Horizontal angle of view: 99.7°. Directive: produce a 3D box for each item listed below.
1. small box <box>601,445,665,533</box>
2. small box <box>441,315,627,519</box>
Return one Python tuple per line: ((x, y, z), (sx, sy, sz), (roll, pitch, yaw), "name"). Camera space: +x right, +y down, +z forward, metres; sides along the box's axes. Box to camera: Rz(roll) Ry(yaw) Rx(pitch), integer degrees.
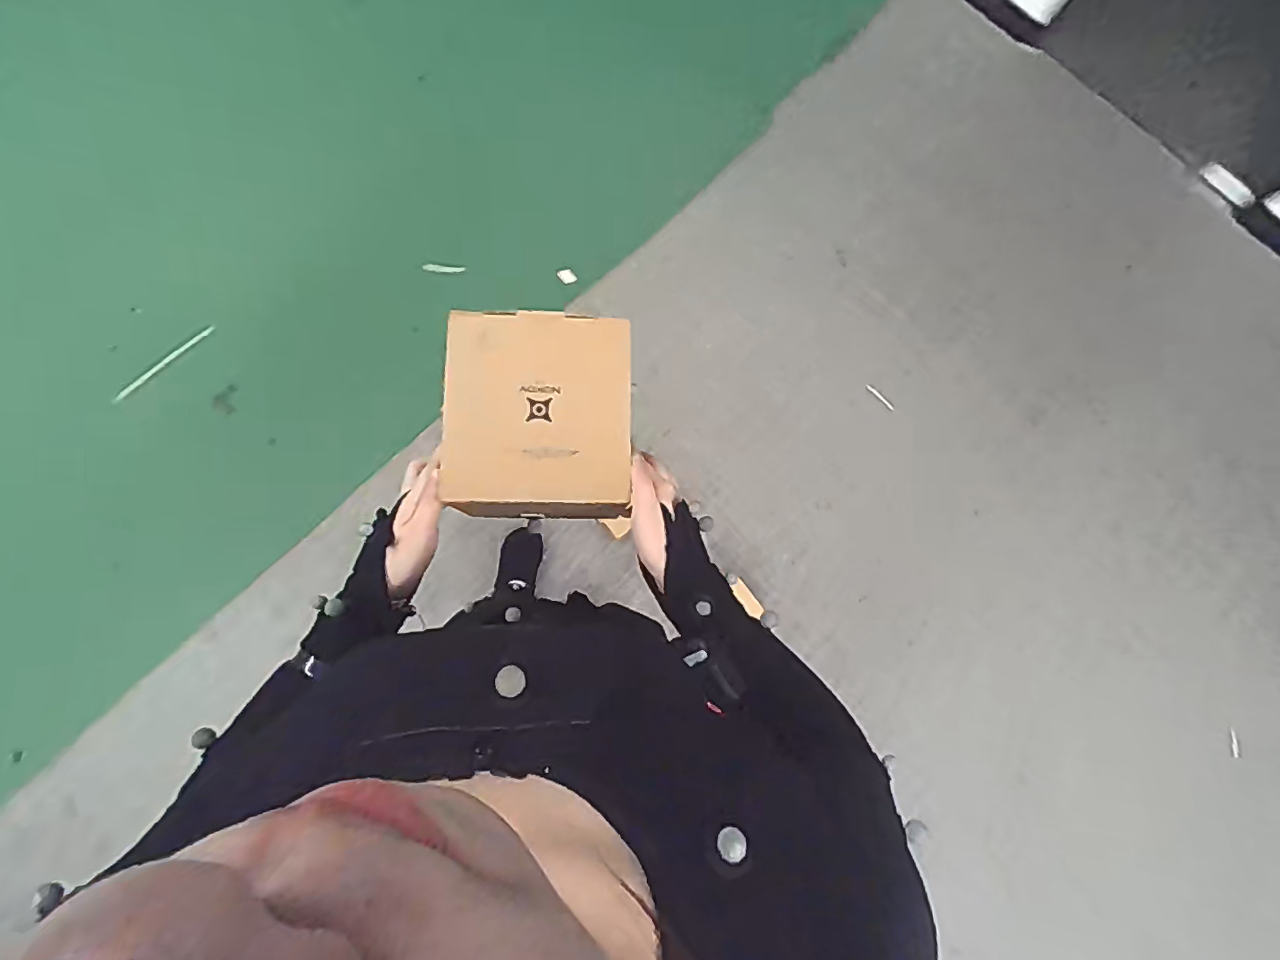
((-0.050, 0.033, 1.492), (0.179, 0.176, 0.168), (-40, 86, -8), "small box")
((-0.103, -0.054, 0.572), (0.168, 0.176, 0.179), (0, 82, -6), "small box")
